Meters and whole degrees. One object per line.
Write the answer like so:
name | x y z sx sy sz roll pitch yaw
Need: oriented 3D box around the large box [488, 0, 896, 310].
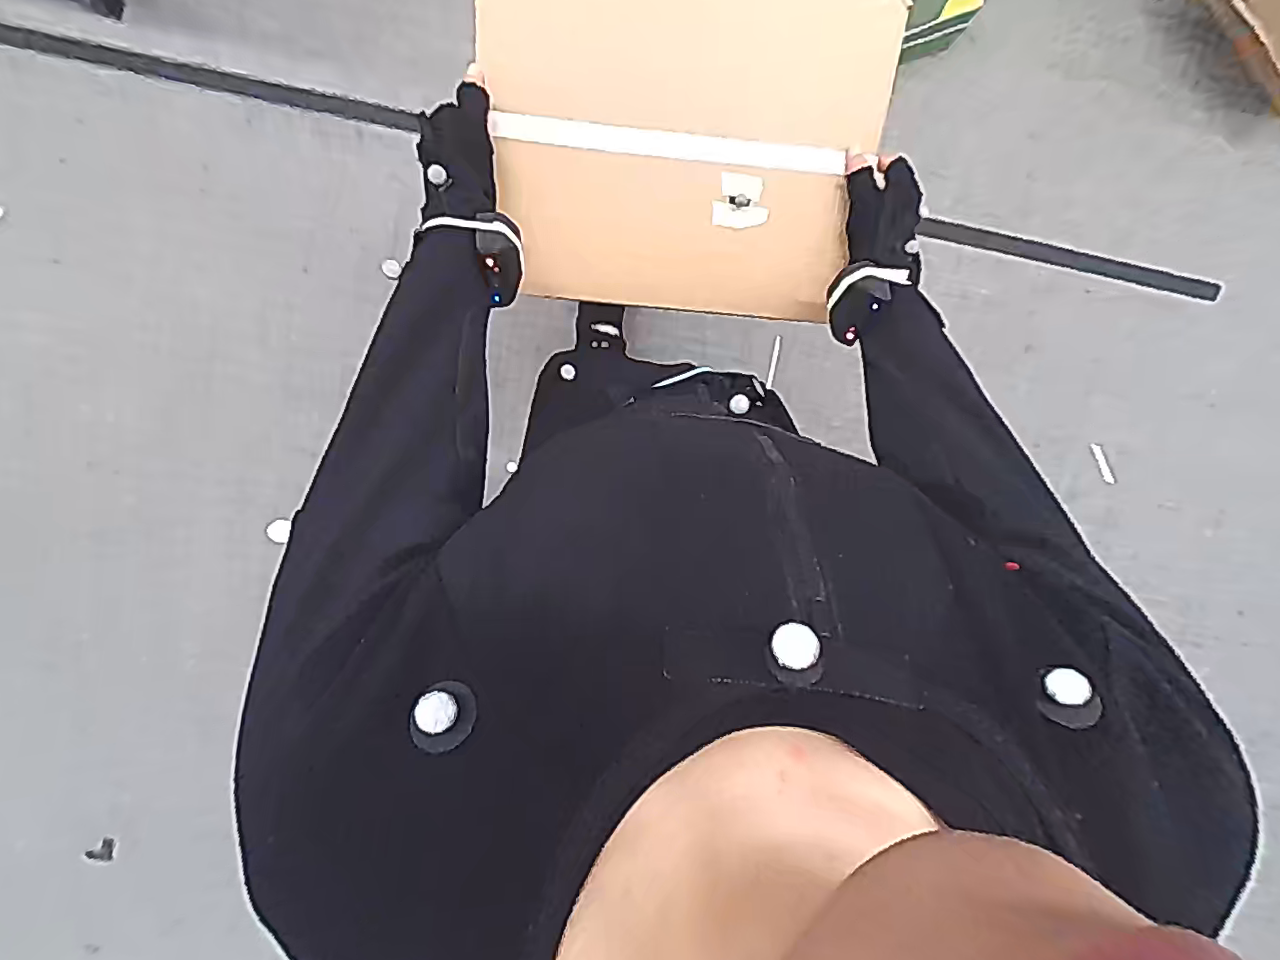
large box | 0.034 -0.402 0.704 0.408 0.320 0.320 4 111 -5
